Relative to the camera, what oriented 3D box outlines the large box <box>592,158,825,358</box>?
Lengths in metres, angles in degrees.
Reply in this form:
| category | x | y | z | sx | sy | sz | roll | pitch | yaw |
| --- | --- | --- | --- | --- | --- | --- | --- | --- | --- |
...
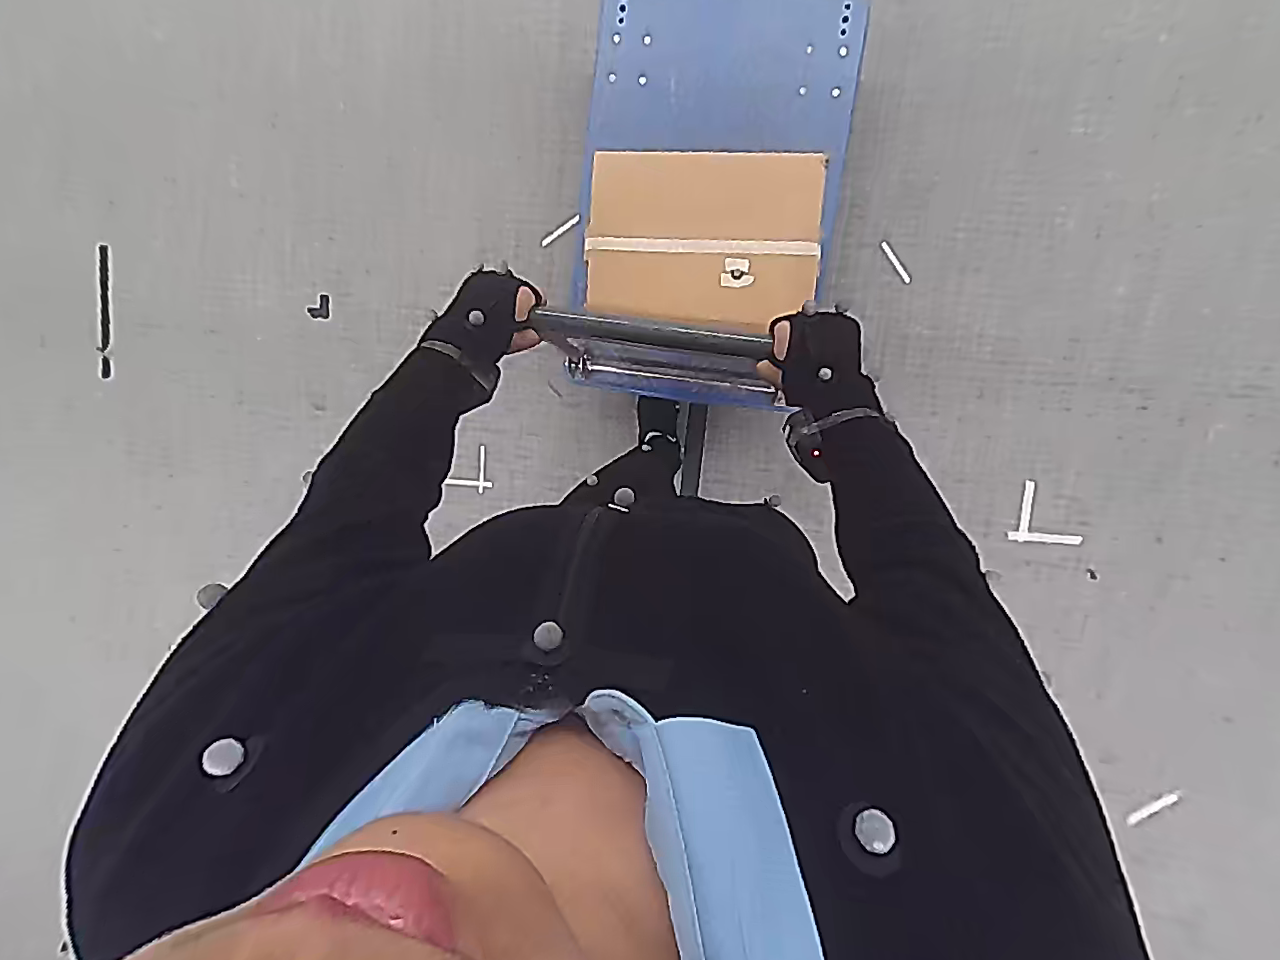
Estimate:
| category | x | y | z | sx | sy | sz | roll | pitch | yaw |
| --- | --- | --- | --- | --- | --- | --- | --- | --- | --- |
| large box | 0.127 | -0.428 | 1.110 | 0.408 | 0.320 | 0.320 | 4 | 98 | 6 |
